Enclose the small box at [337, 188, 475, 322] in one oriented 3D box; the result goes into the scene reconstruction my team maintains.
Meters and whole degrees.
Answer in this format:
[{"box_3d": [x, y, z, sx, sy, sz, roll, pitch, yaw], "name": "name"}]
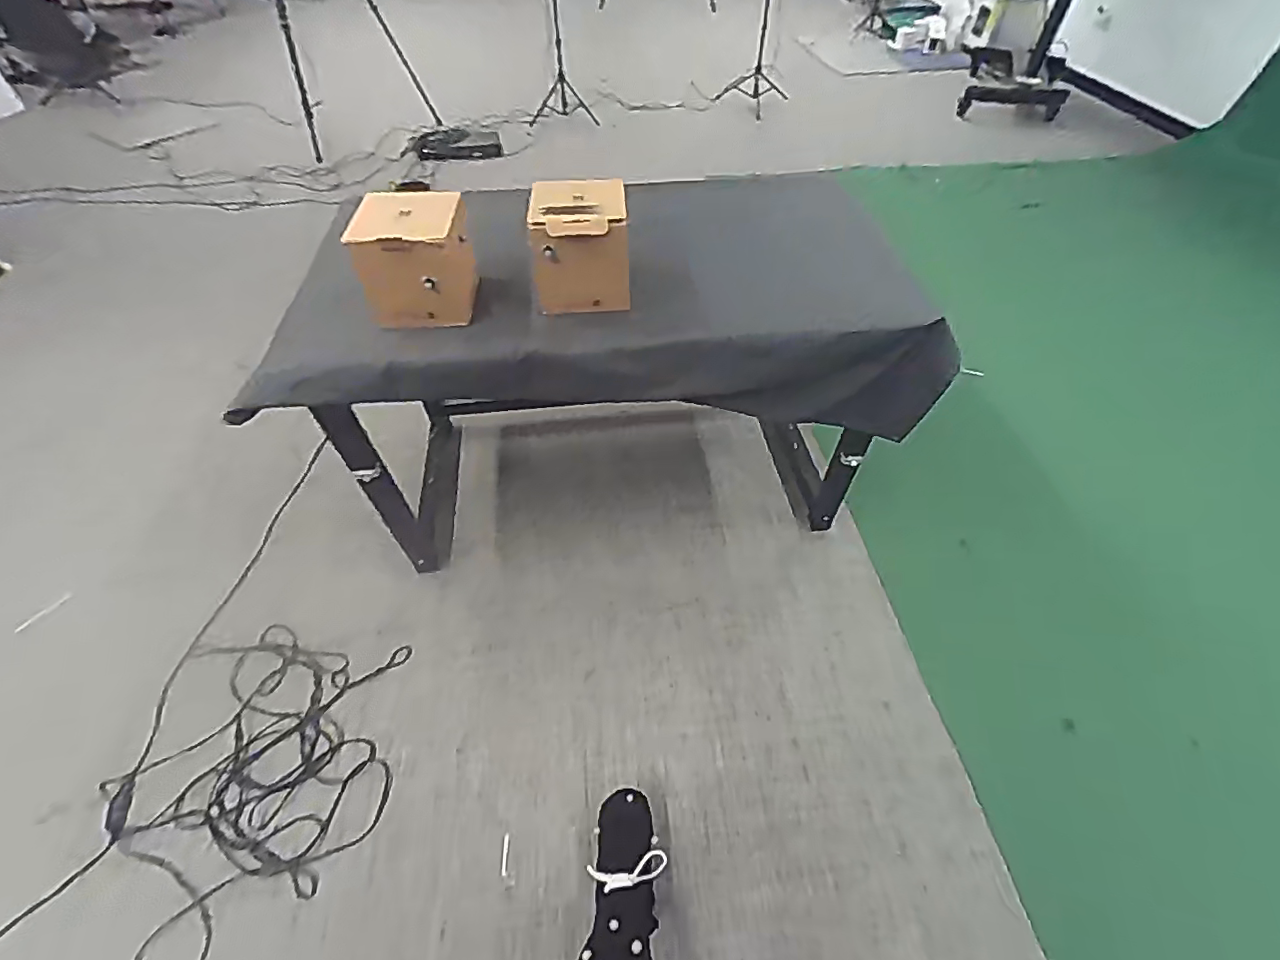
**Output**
[{"box_3d": [-0.400, -0.395, 0.961, 0.168, 0.176, 0.179, -2, 50, -4], "name": "small box"}]
